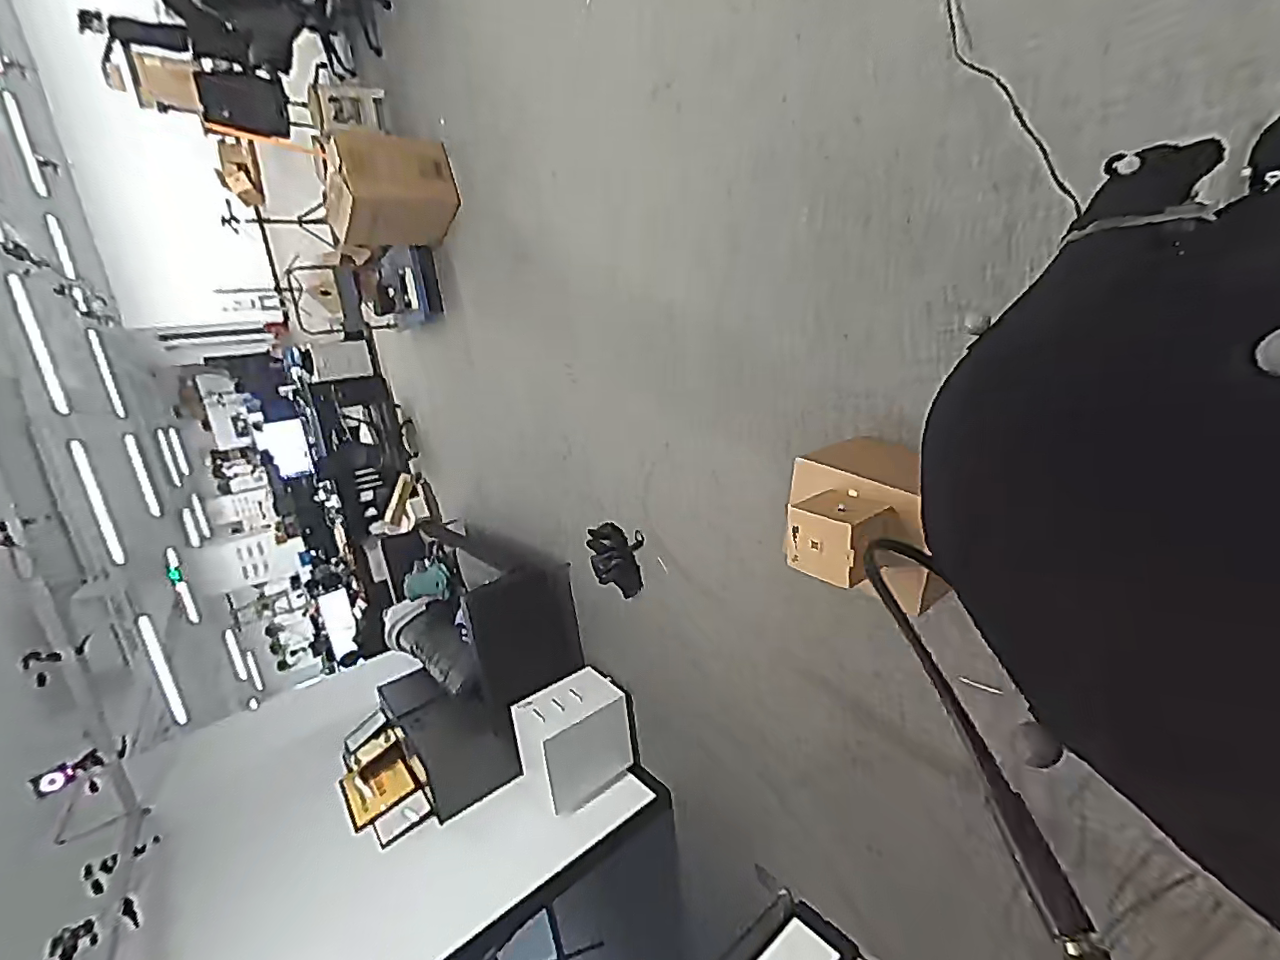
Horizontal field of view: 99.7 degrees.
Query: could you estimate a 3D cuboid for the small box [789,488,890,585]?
[{"bbox_3d":[0.492,0.130,1.334,0.179,0.176,0.168,18,118,49],"label":"small box"}]
